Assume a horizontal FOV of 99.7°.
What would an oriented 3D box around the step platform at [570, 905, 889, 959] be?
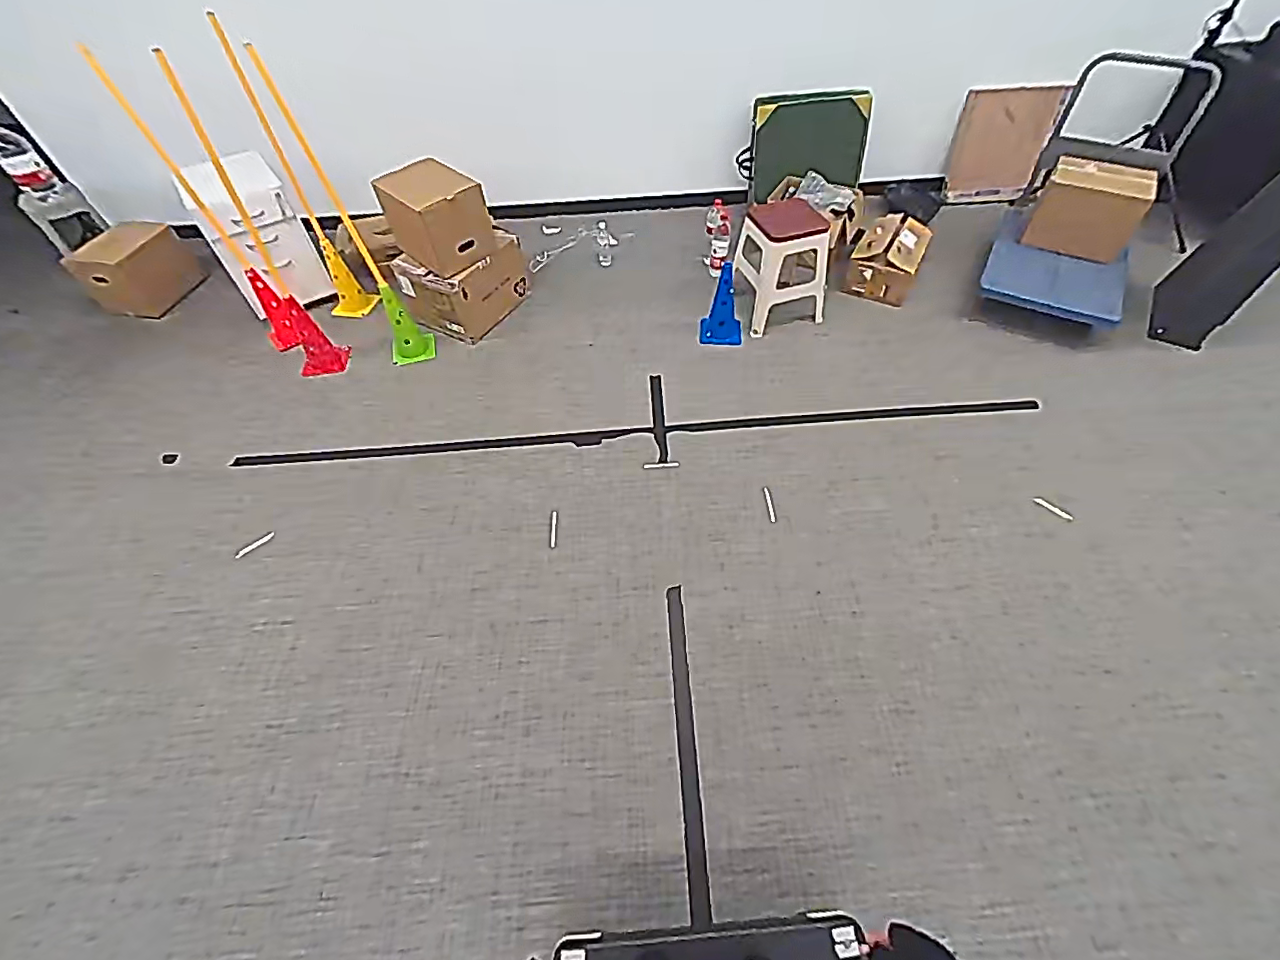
[{"bbox_3d":[0.187,1.093,1.120,0.684,0.204,0.286,-4,52,-2],"label":"step platform"}]
